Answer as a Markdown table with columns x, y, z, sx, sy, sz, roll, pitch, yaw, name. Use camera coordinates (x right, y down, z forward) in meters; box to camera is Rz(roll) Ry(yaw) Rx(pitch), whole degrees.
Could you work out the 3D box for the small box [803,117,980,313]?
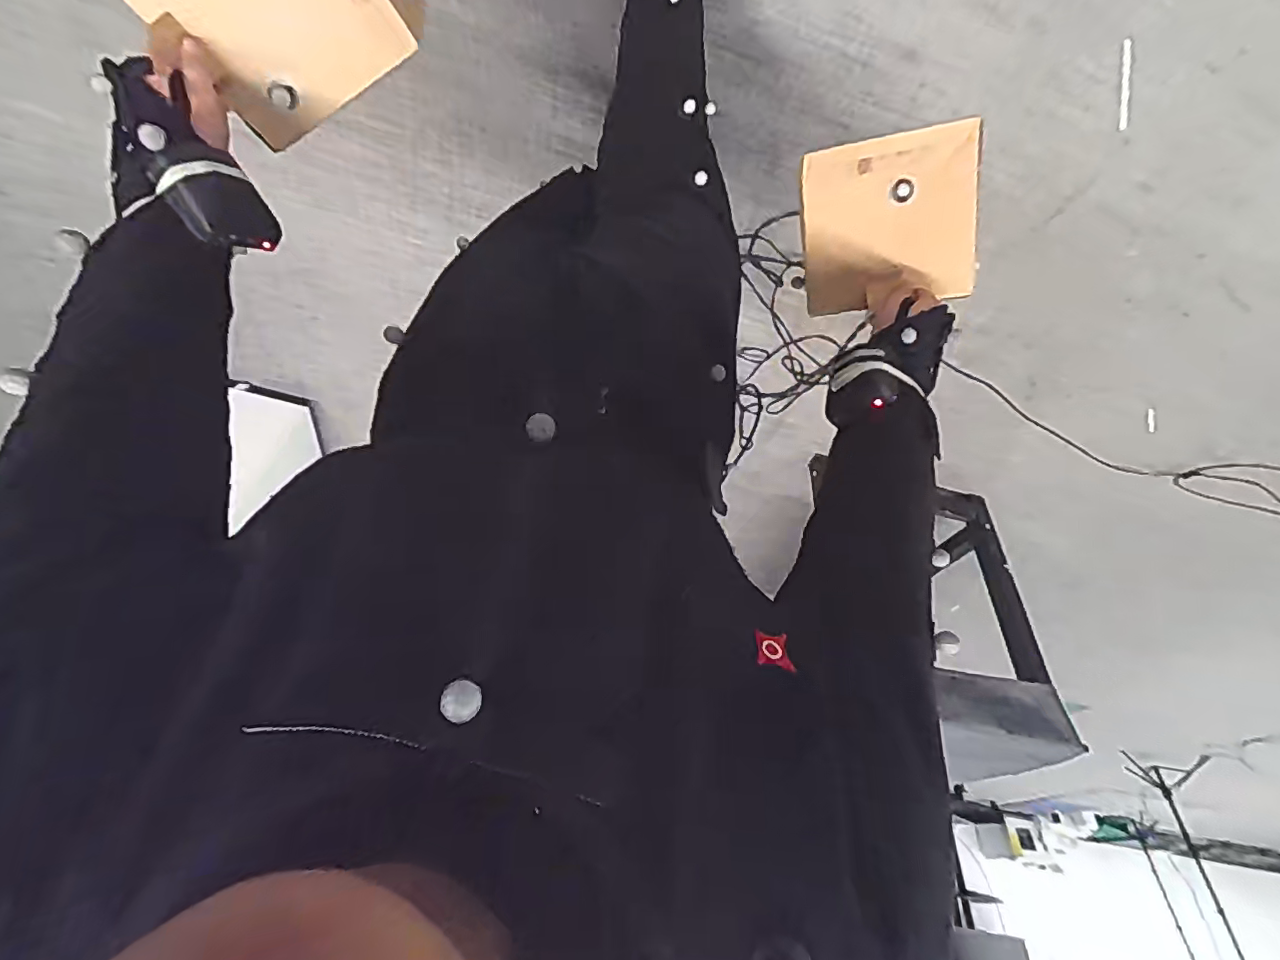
| x | y | z | sx | sy | sz | roll | pitch | yaw | name |
| --- | --- | --- | --- | --- | --- | --- | --- | --- | --- |
| 0.283 | -0.297 | 0.634 | 0.168 | 0.179 | 0.176 | -3 | 108 | 17 | small box |
